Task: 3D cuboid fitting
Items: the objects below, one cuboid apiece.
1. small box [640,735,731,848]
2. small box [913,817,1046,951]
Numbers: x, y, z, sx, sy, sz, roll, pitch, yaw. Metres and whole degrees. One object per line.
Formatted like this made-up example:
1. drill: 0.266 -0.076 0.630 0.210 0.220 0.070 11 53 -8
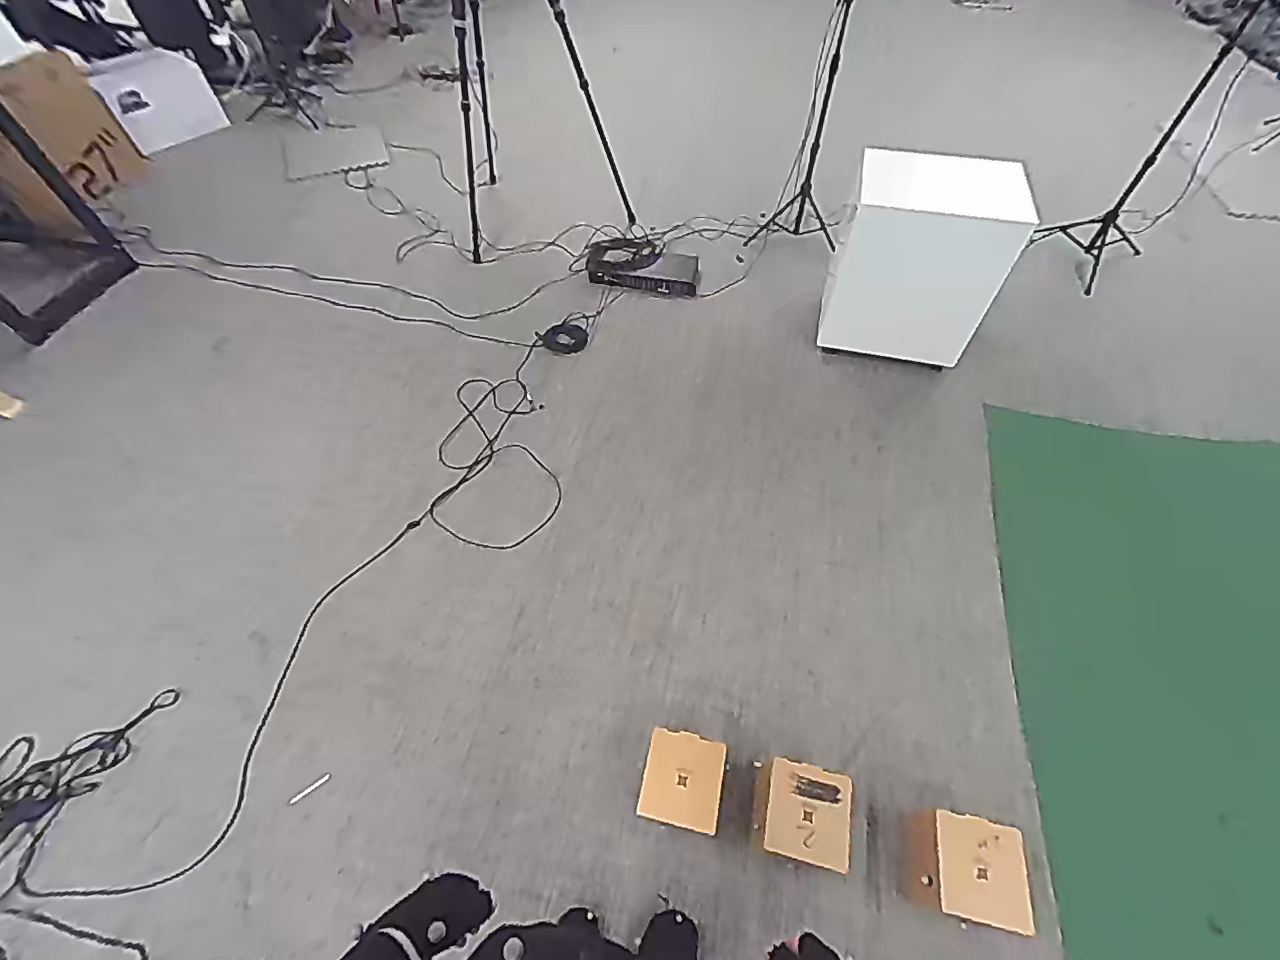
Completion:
1. small box: 0.101 0.690 1.192 0.168 0.176 0.179 10 54 9
2. small box: 0.671 0.808 1.091 0.168 0.176 0.179 10 55 8
